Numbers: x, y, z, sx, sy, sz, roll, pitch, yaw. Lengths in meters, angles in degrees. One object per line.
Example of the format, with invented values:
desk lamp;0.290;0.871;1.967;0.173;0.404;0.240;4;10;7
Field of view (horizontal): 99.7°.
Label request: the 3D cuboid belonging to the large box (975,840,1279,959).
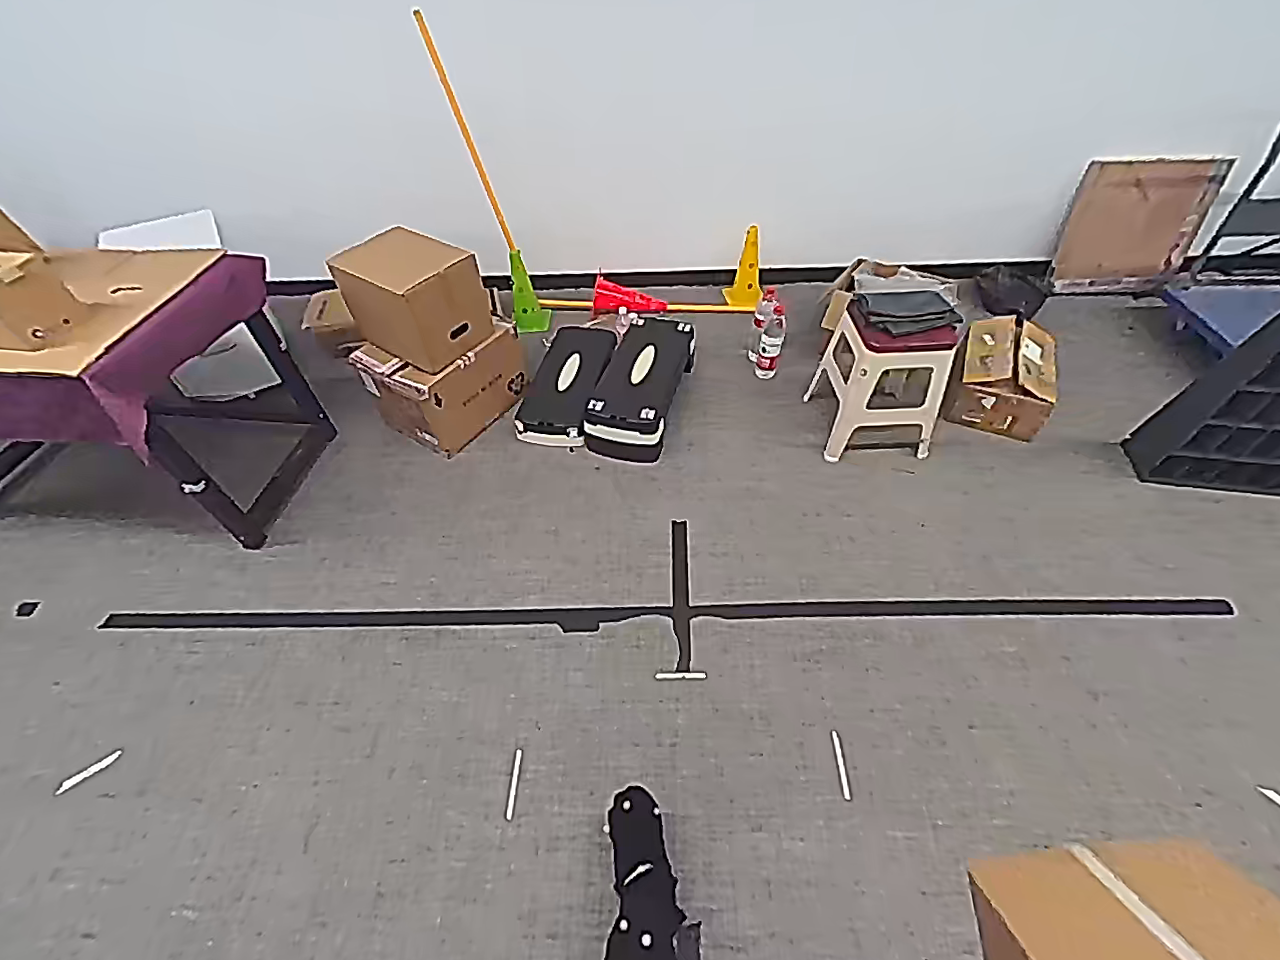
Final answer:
large box;0.640;0.681;0.582;0.320;0.408;0.320;-11;90;7
